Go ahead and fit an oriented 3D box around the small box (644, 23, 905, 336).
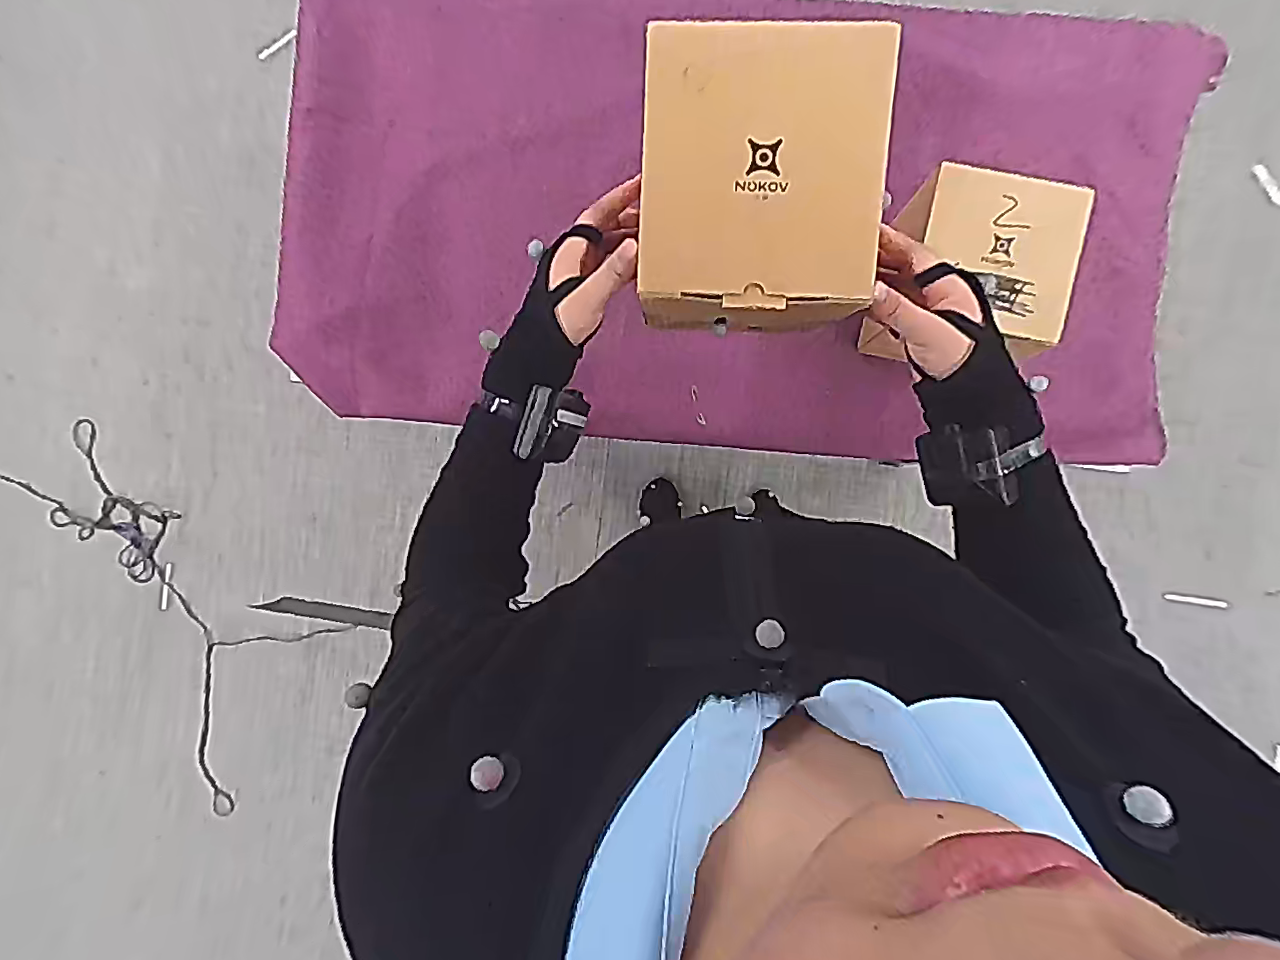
[{"bbox_3d":[0.091,-0.220,0.440,0.168,0.176,0.179,2,99,3],"label":"small box"}]
